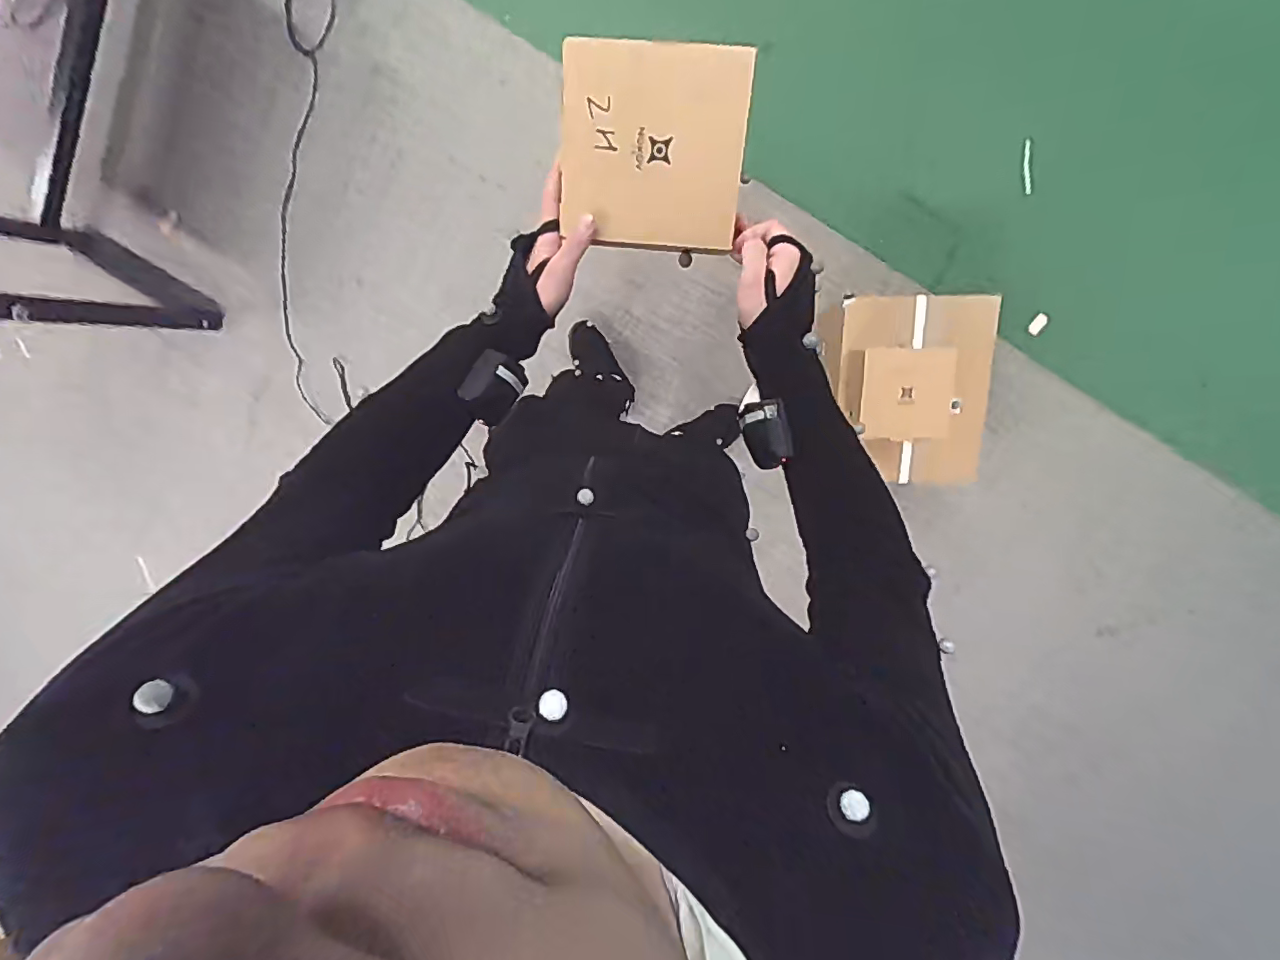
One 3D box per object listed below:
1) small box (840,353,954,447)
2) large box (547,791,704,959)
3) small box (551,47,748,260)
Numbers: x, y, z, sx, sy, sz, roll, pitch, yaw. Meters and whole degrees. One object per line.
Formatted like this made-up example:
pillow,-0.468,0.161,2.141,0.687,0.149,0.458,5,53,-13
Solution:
small box,0.514,-0.169,1.106,0.168,0.176,0.179,2,103,9
large box,-0.031,1.322,1.796,0.408,0.320,0.320,-25,99,13
small box,0.010,-0.329,0.578,0.179,0.176,0.168,6,111,4
